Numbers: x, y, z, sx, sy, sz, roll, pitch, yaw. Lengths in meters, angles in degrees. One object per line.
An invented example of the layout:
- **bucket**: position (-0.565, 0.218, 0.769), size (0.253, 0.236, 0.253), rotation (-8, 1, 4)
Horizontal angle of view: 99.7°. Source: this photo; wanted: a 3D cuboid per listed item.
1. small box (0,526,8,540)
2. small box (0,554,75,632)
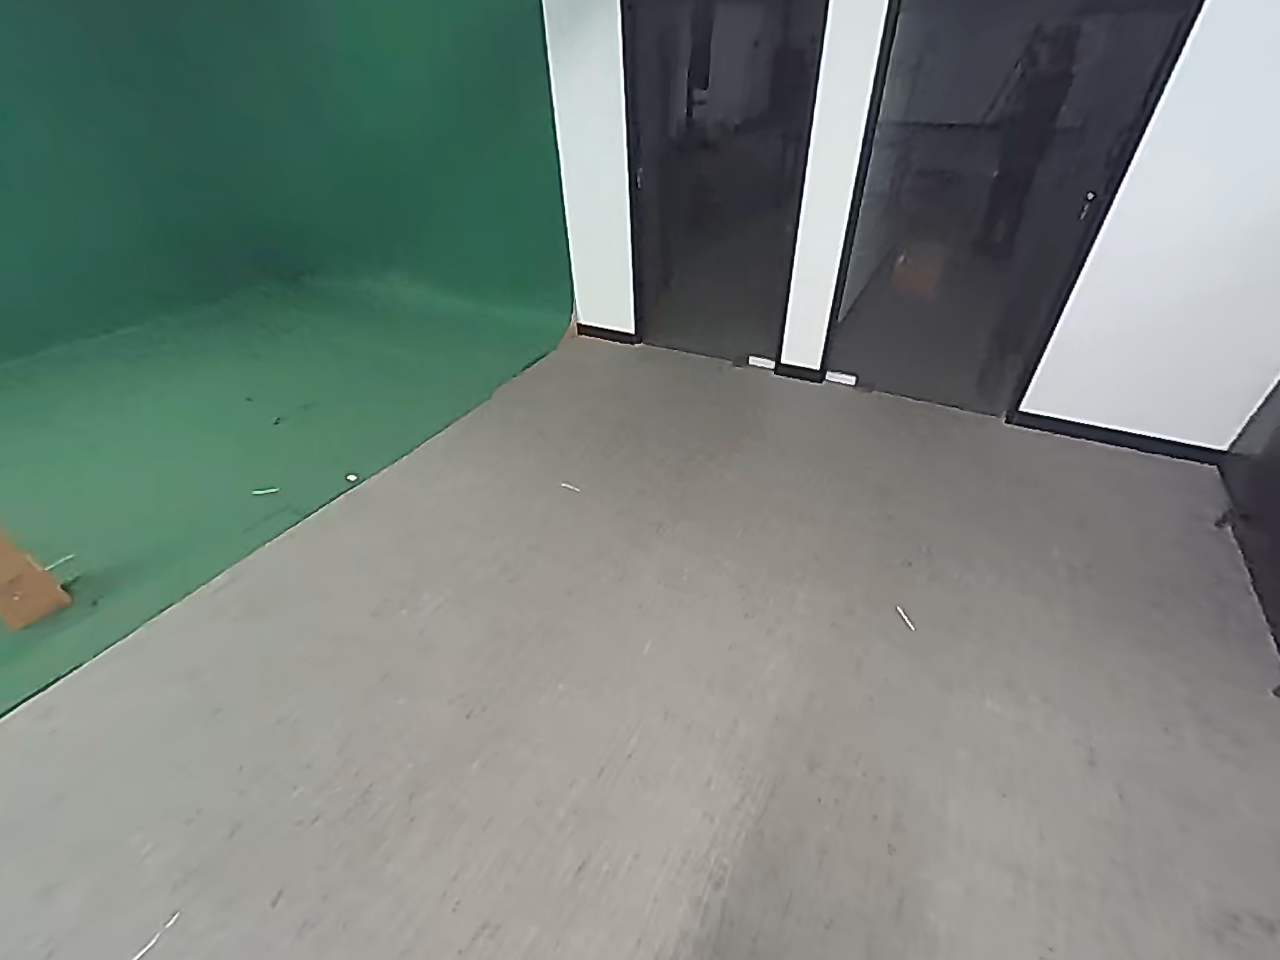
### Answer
- **small box**: position (-2.196, 0.148, 1.711), size (0.168, 0.176, 0.179), rotation (20, 44, 27)
- **small box**: position (-2.178, 0.401, 1.921), size (0.168, 0.176, 0.179), rotation (22, 44, 27)
